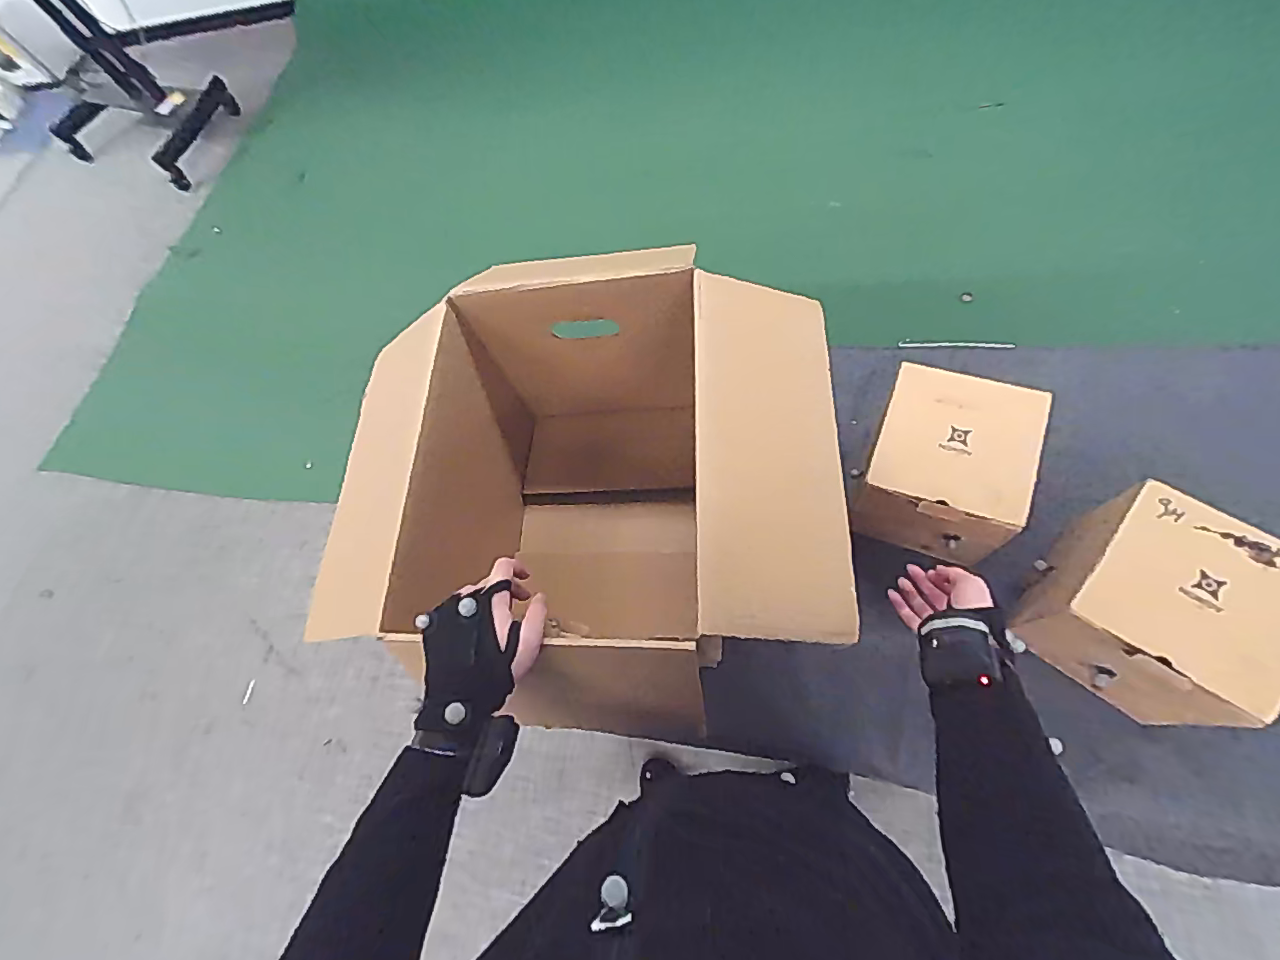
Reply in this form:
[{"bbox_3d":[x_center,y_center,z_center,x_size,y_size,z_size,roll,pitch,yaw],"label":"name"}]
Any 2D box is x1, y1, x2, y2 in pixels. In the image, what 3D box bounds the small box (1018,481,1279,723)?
[{"bbox_3d":[0.558,0.138,0.592,0.168,0.176,0.179,37,80,23],"label":"small box"}]
